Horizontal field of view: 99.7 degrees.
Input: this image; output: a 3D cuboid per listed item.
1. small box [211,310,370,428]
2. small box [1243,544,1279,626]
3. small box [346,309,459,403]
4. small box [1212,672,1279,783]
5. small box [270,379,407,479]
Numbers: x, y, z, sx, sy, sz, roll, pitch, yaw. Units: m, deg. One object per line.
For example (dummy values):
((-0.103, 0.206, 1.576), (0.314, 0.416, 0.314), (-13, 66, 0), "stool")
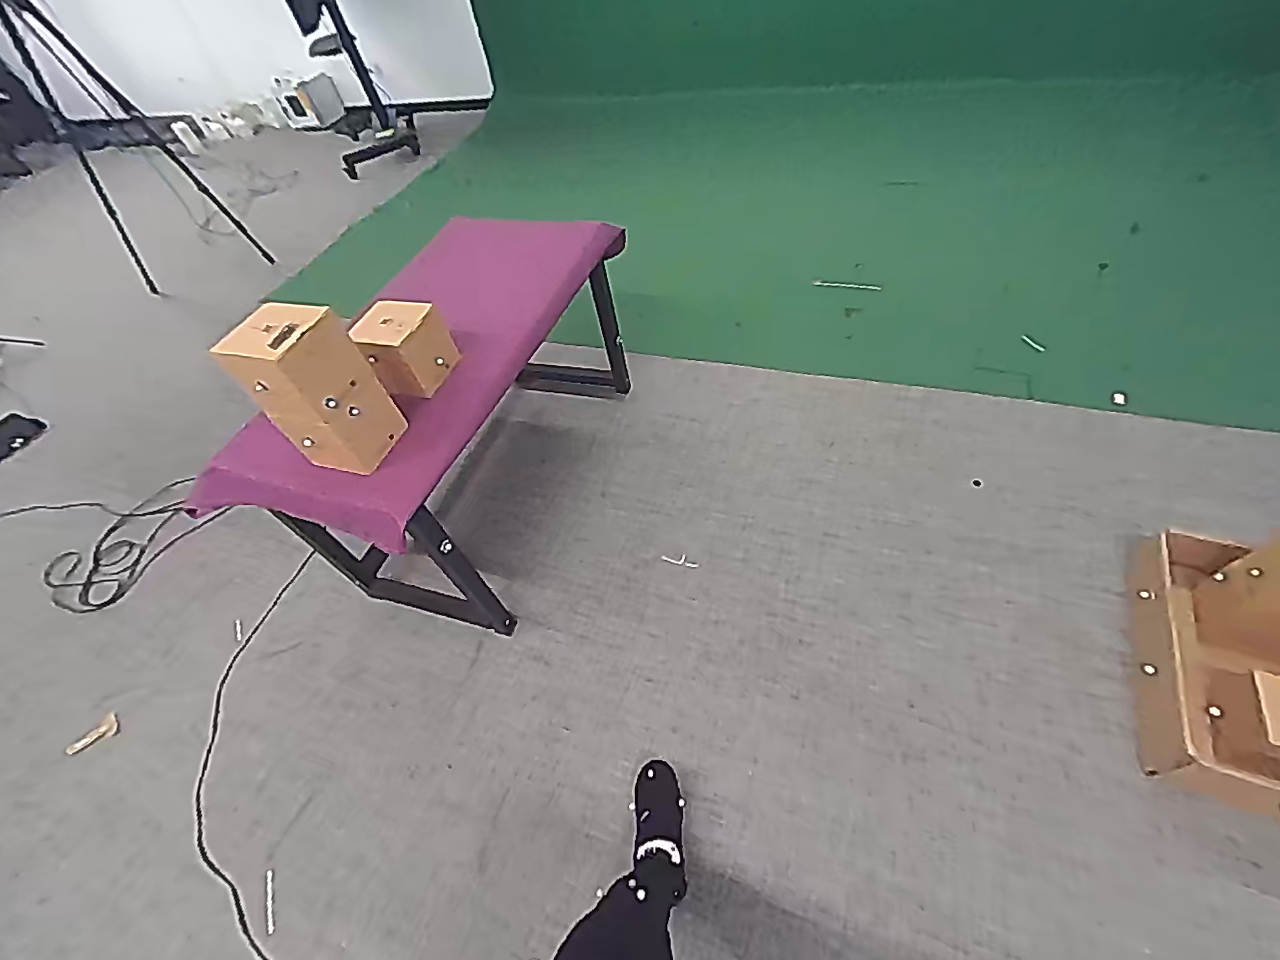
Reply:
((-0.702, -0.225, 1.111), (0.179, 0.176, 0.168), (9, 53, 18), "small box")
((1.504, 0.234, 1.185), (0.179, 0.176, 0.168), (15, 57, 21), "small box")
((-0.600, -0.314, 1.377), (0.179, 0.176, 0.168), (9, 54, 18), "small box")
((1.406, 0.547, 1.163), (0.179, 0.176, 0.168), (15, 55, 22), "small box")
((-0.678, -0.121, 1.236), (0.179, 0.176, 0.168), (9, 54, 18), "small box")
